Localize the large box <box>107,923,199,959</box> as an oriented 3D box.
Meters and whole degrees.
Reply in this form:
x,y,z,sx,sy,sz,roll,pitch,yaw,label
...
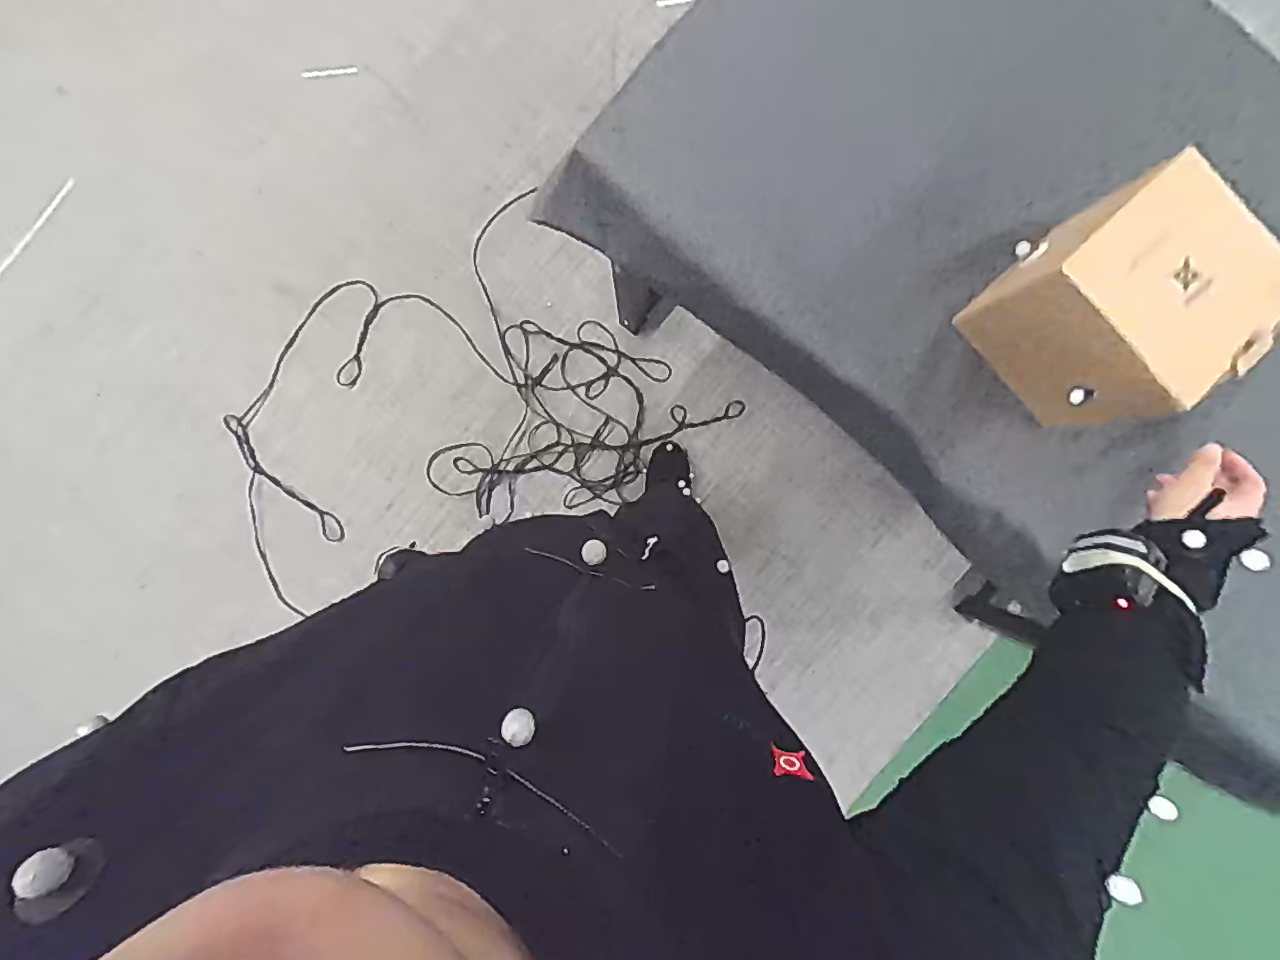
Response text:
x,y,z,sx,sy,sz,roll,pitch,yaw,label
-1.186,1.361,1.228,0.408,0.320,0.320,40,89,1,large box

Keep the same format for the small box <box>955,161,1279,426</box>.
x,y,z,sx,sy,sz,roll,pitch,yaw,label
0.484,-0.171,0.563,0.168,0.176,0.179,-42,90,-1,small box
